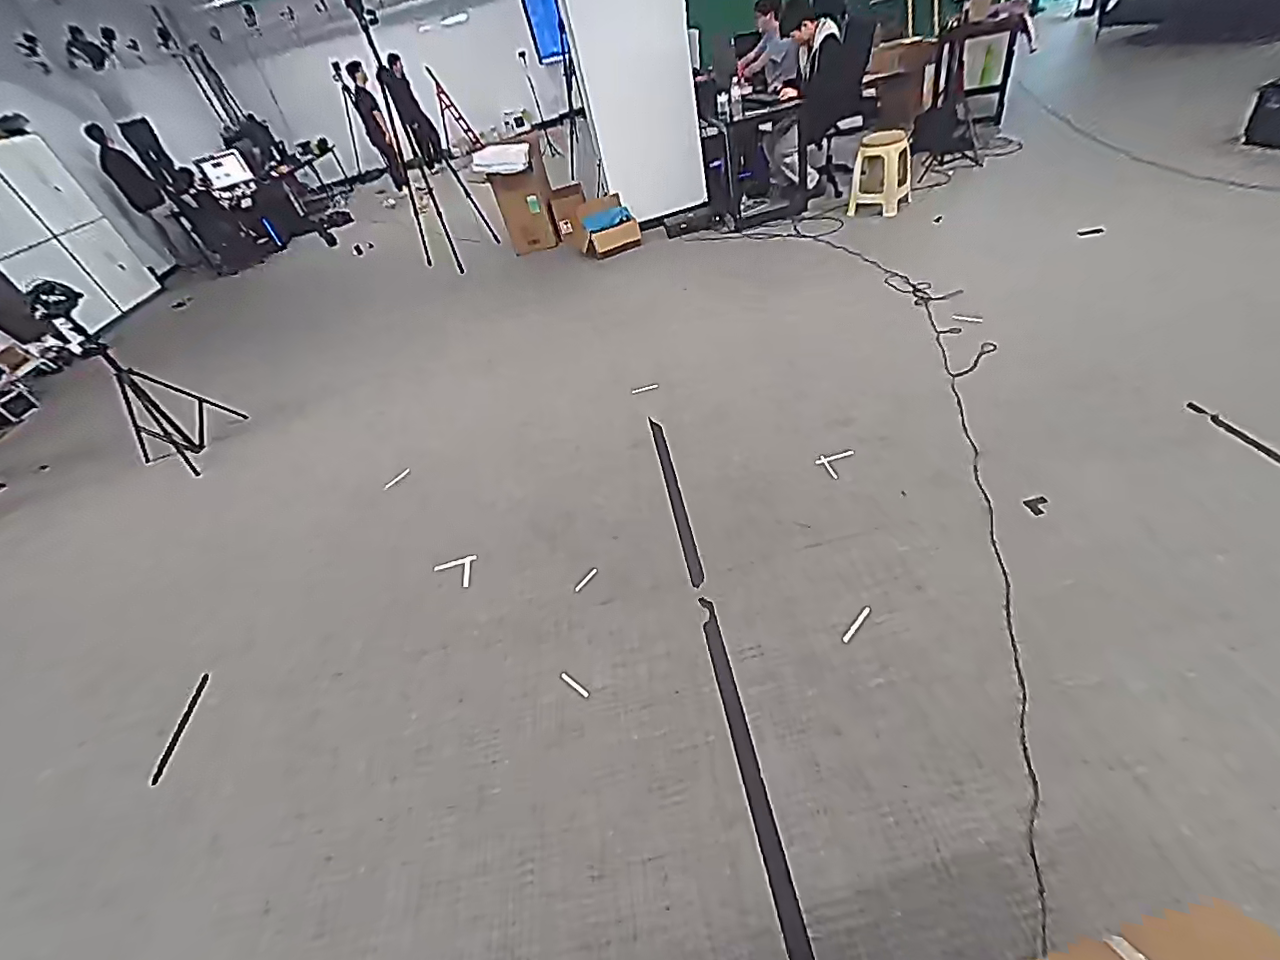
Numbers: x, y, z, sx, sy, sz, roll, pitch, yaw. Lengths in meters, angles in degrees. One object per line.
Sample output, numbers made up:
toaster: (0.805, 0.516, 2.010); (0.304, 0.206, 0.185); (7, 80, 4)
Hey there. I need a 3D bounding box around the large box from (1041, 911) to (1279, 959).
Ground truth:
large box: (0.635, 0.707, 0.480); (0.320, 0.408, 0.320); (-21, 79, 4)
